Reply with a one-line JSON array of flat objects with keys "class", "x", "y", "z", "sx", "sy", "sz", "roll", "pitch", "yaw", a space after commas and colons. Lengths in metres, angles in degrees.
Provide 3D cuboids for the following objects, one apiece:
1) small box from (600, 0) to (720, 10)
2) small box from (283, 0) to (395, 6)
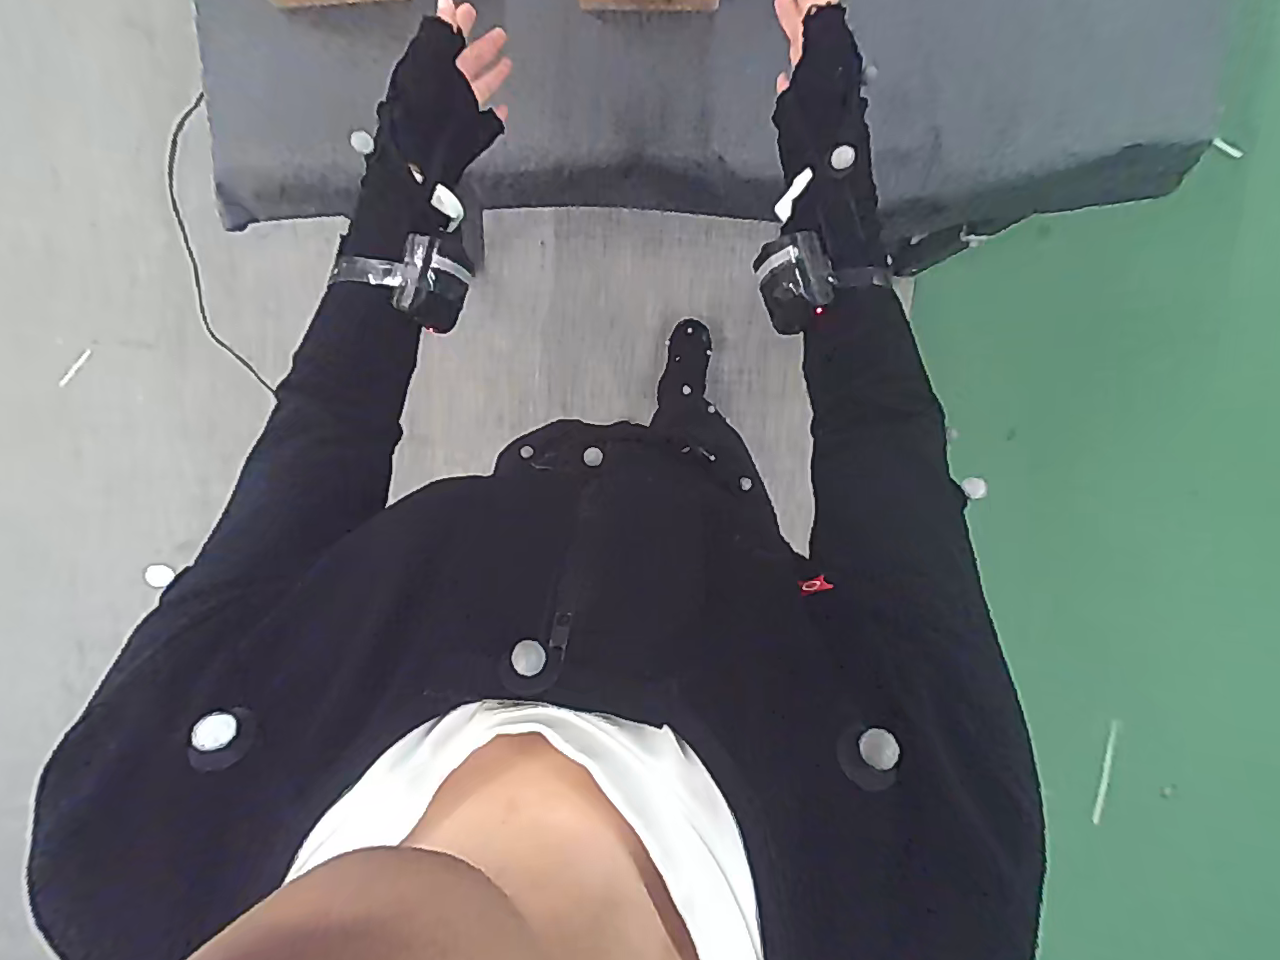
[{"class": "small box", "x": 0.015, "y": -0.630, "z": 0.553, "sx": 0.168, "sy": 0.176, "sz": 0.179, "roll": 2, "pitch": 99, "yaw": 2}, {"class": "small box", "x": -0.355, "y": -0.645, "z": 0.566, "sx": 0.179, "sy": 0.176, "sz": 0.168, "roll": -2, "pitch": 98, "yaw": 2}]
